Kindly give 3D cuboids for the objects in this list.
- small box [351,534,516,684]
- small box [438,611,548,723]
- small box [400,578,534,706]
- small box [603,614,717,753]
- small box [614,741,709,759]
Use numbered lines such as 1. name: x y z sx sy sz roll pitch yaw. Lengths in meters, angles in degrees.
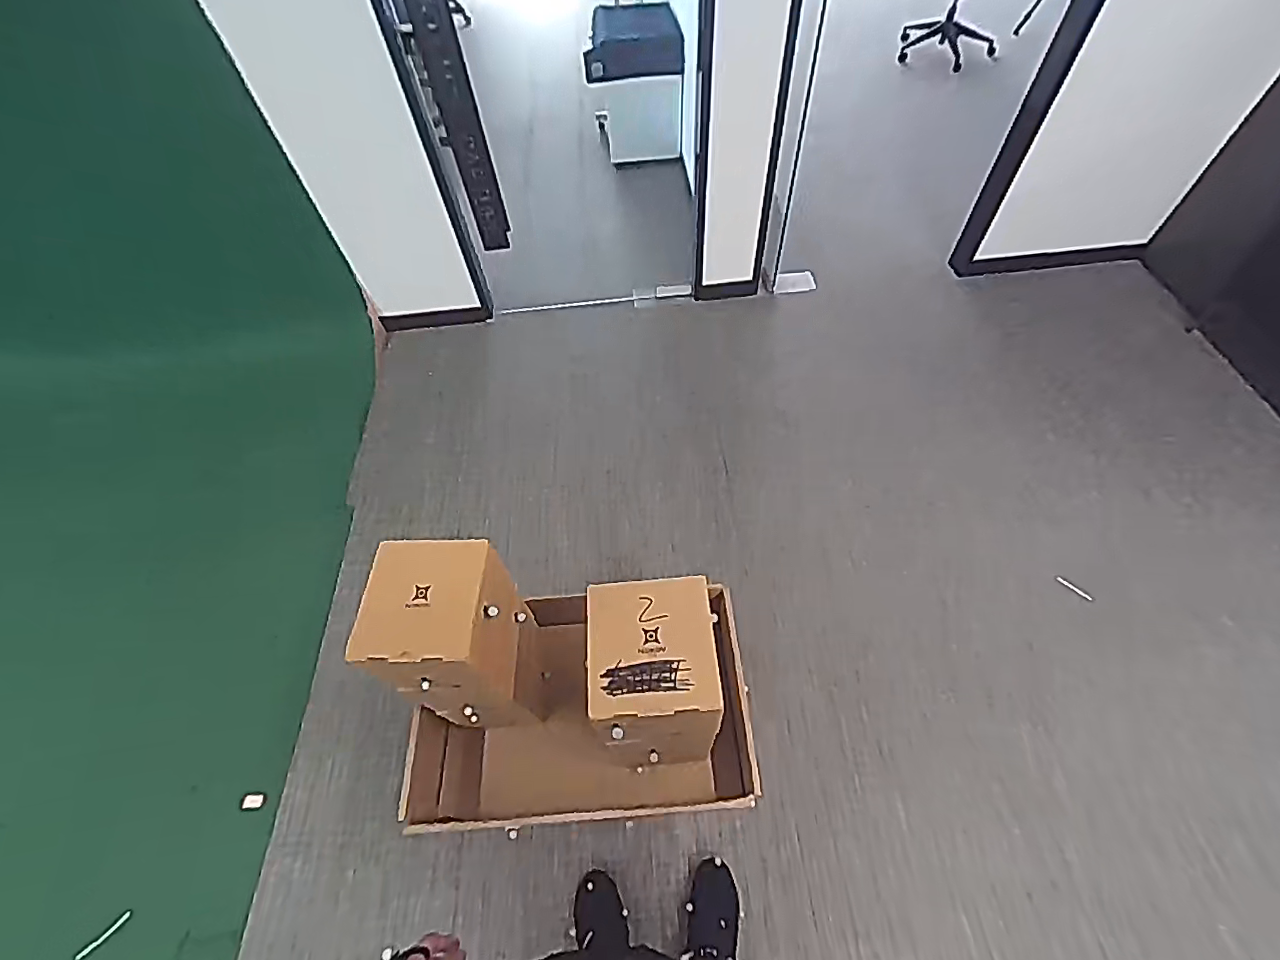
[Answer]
1. small box: -0.294 0.197 0.816 0.168 0.176 0.179 0 57 3
2. small box: -0.283 0.378 1.086 0.168 0.176 0.179 -2 56 2
3. small box: -0.289 0.286 0.951 0.168 0.176 0.179 -2 57 3
4. small box: 0.029 0.340 0.897 0.168 0.176 0.179 -5 57 0
5. small box: 0.038 0.428 1.033 0.168 0.176 0.179 -5 55 0
